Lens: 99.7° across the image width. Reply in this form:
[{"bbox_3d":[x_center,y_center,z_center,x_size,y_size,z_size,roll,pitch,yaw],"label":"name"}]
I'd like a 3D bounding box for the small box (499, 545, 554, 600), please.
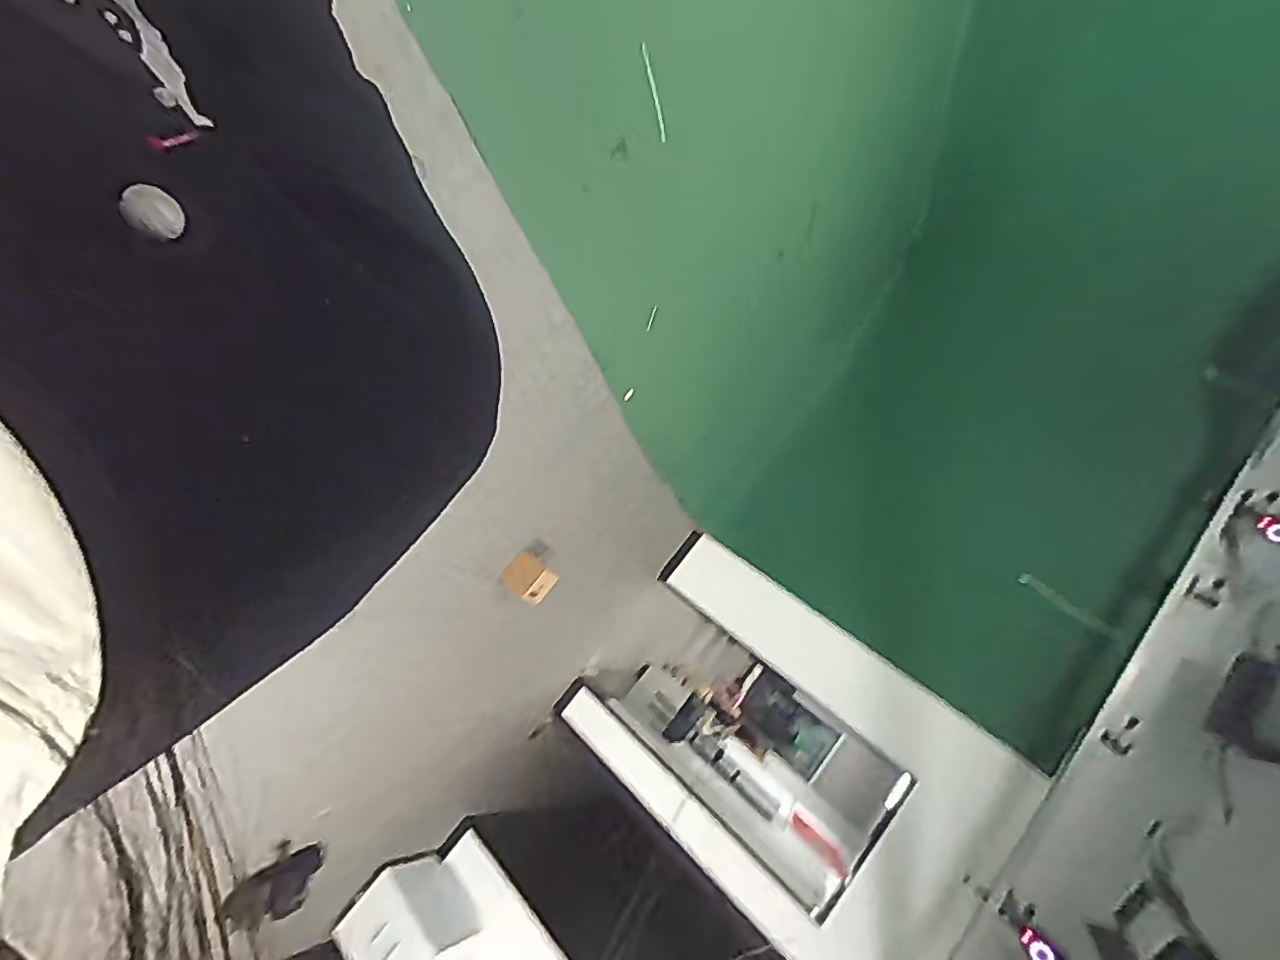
[{"bbox_3d":[-0.554,0.446,2.603,0.179,0.176,0.168,-52,153,-10],"label":"small box"}]
